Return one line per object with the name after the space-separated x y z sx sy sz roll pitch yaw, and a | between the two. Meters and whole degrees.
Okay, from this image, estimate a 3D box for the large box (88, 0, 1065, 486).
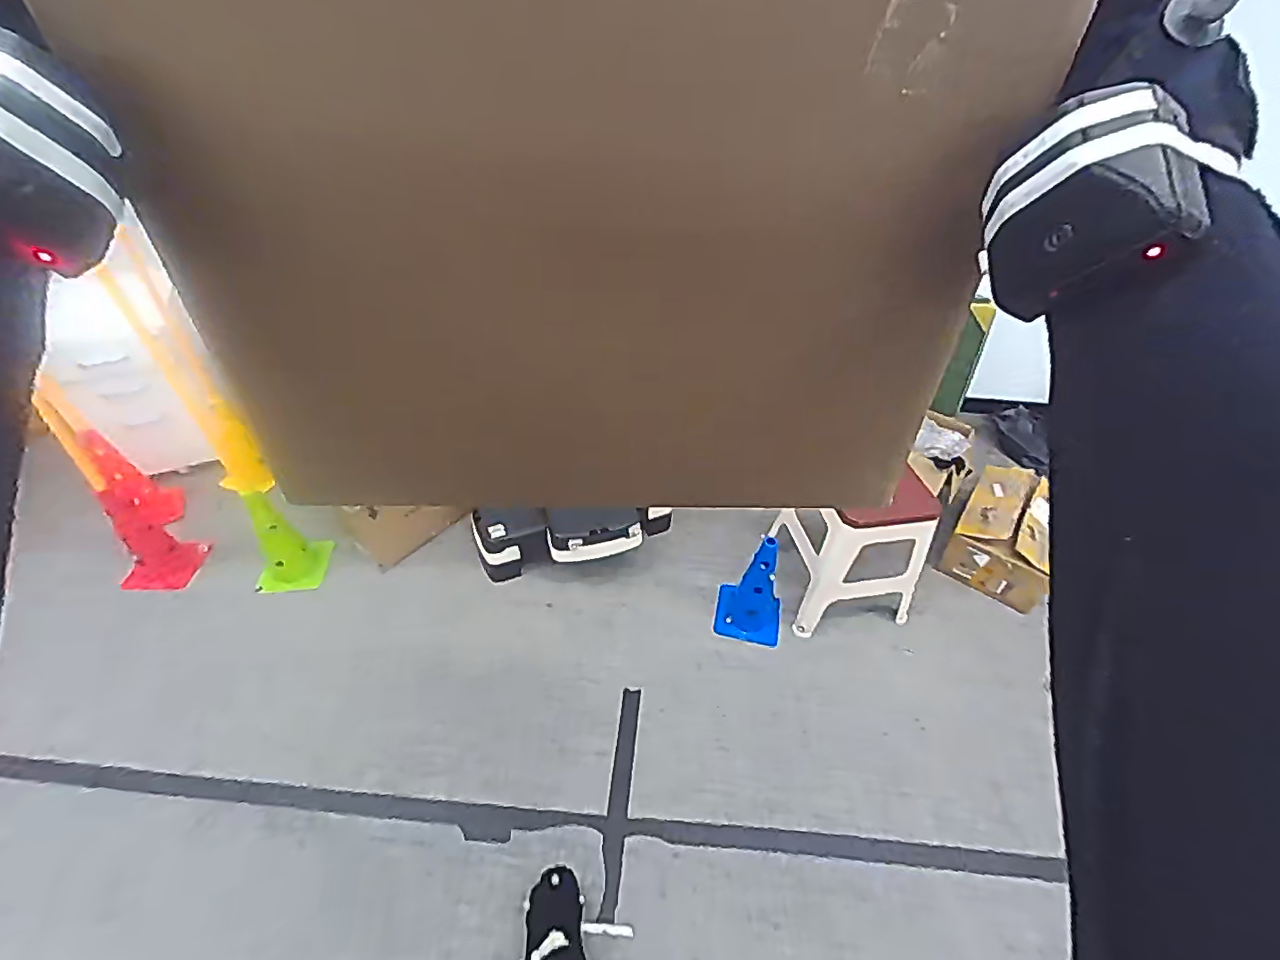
-0.031 -0.205 0.393 0.408 0.320 0.320 1 39 -2 | large box
